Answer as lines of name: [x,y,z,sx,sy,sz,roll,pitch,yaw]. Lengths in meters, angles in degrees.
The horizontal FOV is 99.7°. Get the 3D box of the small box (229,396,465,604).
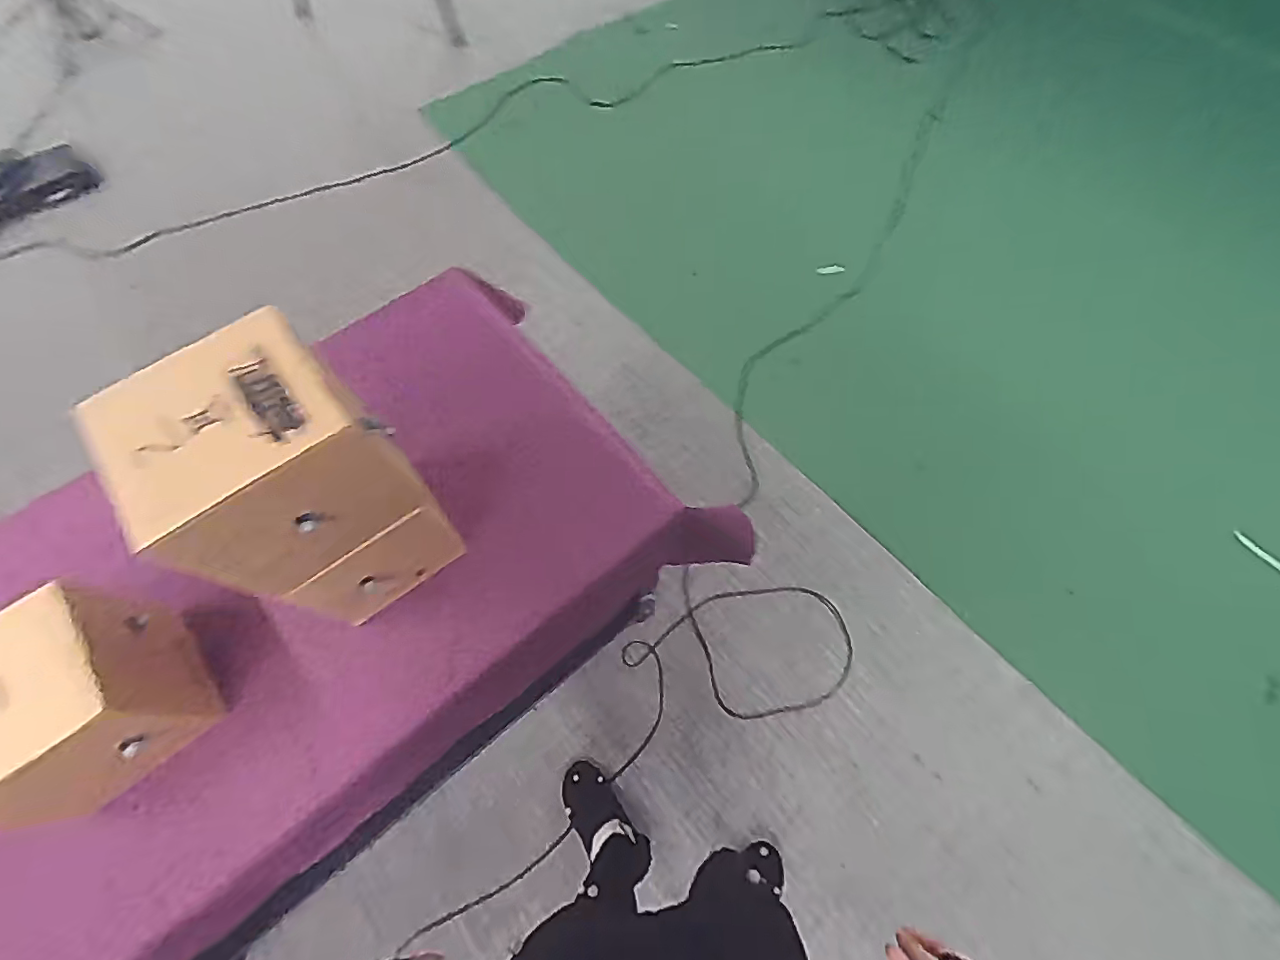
small box: [-0.348,0.037,0.675,0.168,0.176,0.179,-36,70,-15]

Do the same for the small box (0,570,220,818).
small box: [-0.607,0.230,0.586,0.179,0.176,0.168,-37,70,-15]
